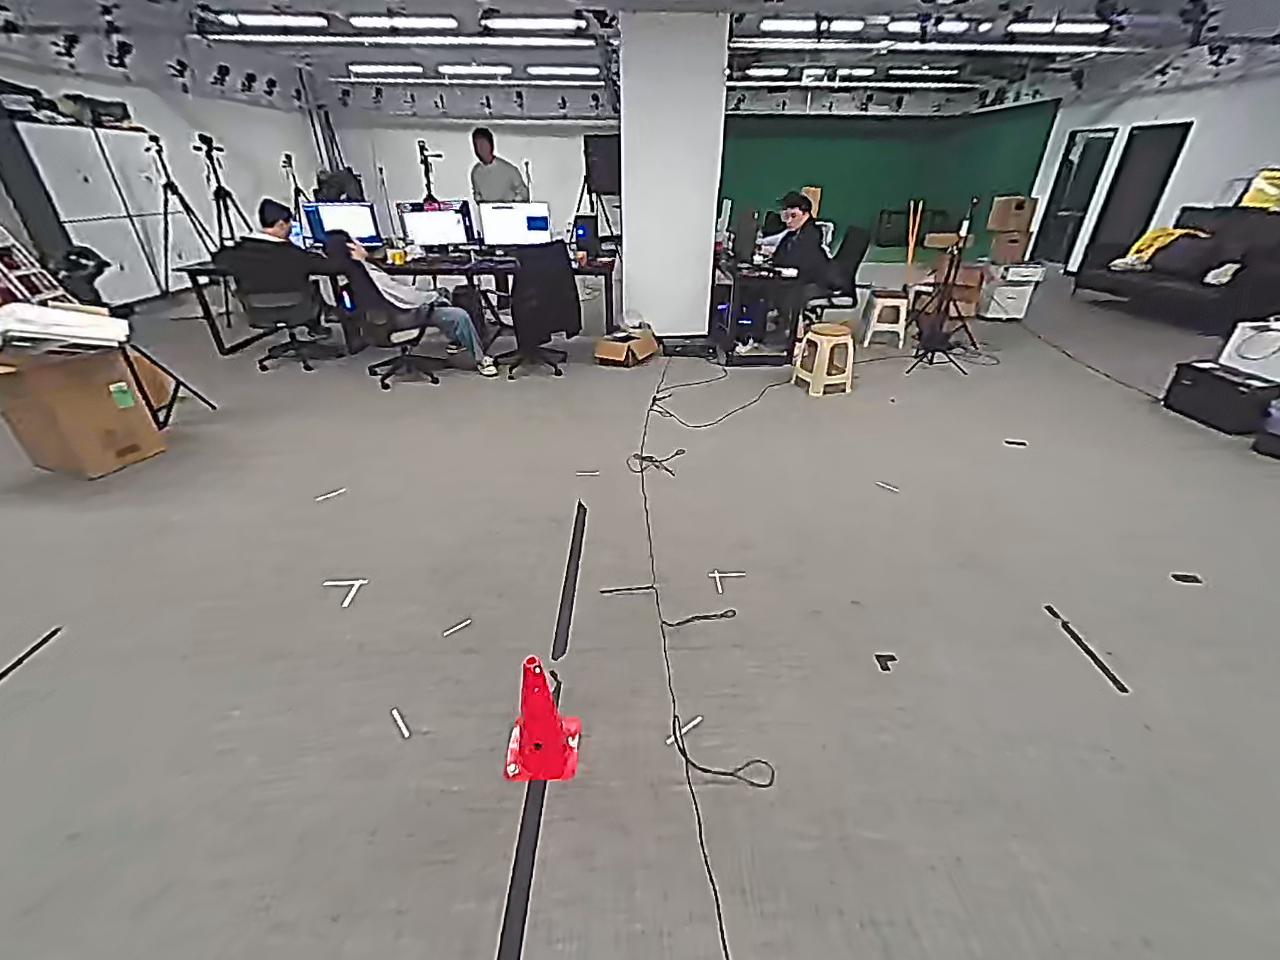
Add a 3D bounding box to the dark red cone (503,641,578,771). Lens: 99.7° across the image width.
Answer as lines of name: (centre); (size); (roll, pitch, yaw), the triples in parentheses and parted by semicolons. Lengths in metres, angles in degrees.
dark red cone: (-0.277, 0.598, 1.472); (0.201, 0.394, 0.202); (1, 29, -2)
